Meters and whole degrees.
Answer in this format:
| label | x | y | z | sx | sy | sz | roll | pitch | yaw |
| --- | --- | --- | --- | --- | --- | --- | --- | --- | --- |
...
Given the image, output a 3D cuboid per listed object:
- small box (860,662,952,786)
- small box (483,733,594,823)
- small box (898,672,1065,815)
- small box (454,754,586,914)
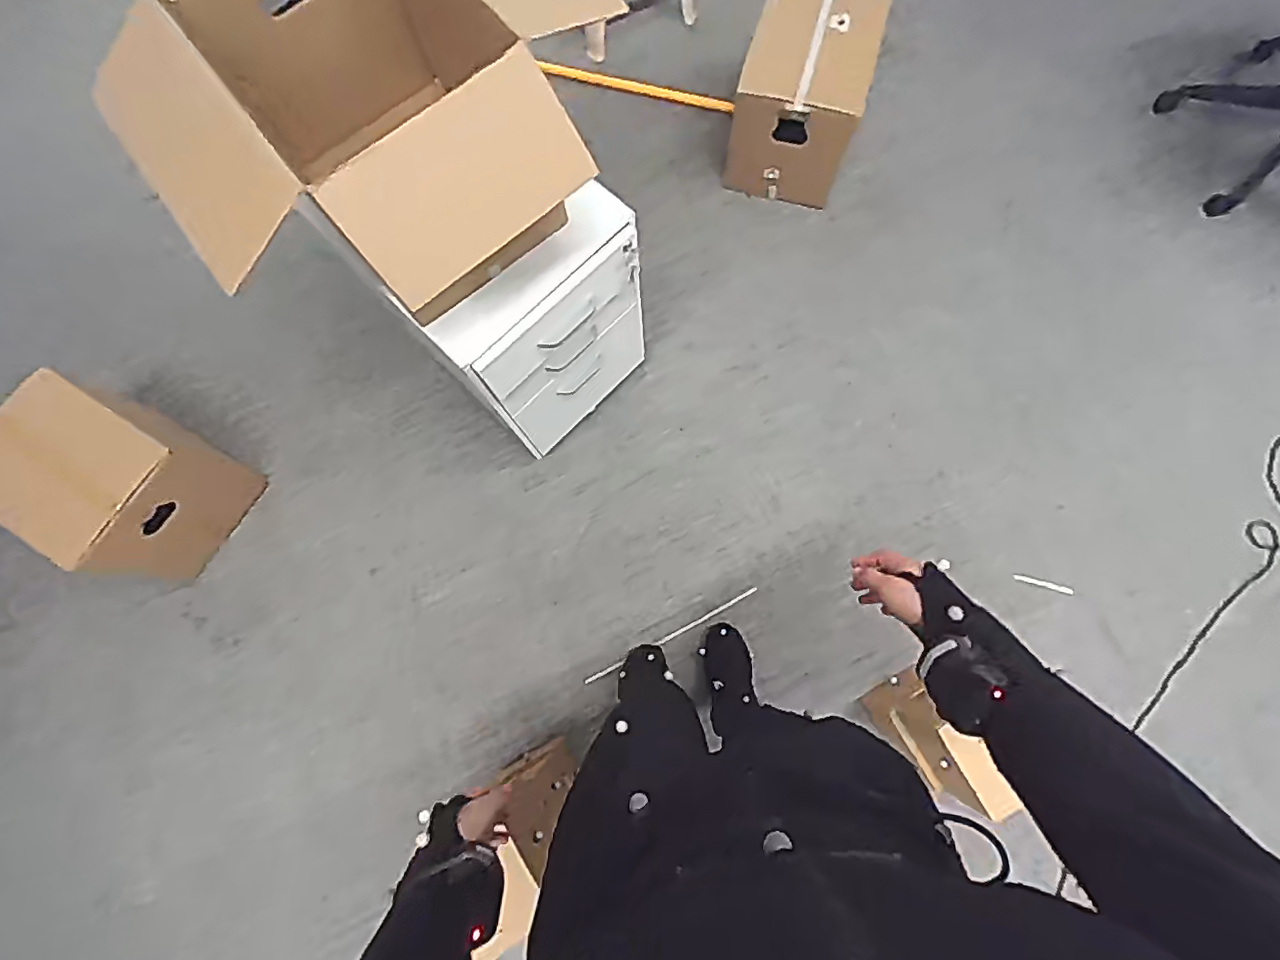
| label | x | y | z | sx | sy | sz | roll | pitch | yaw |
| --- | --- | --- | --- | --- | --- | --- | --- | --- | --- |
| small box | 0.622 | 0.523 | 1.187 | 0.168 | 0.176 | 0.179 | -30 | 77 | -5 |
| small box | -0.213 | 0.692 | 1.199 | 0.179 | 0.176 | 0.168 | -29 | 77 | -4 |
| small box | 0.631 | 0.483 | 1.027 | 0.168 | 0.176 | 0.179 | -29 | 79 | -4 |
| small box | -0.217 | 0.662 | 1.039 | 0.179 | 0.176 | 0.168 | -33 | 76 | -3 |
